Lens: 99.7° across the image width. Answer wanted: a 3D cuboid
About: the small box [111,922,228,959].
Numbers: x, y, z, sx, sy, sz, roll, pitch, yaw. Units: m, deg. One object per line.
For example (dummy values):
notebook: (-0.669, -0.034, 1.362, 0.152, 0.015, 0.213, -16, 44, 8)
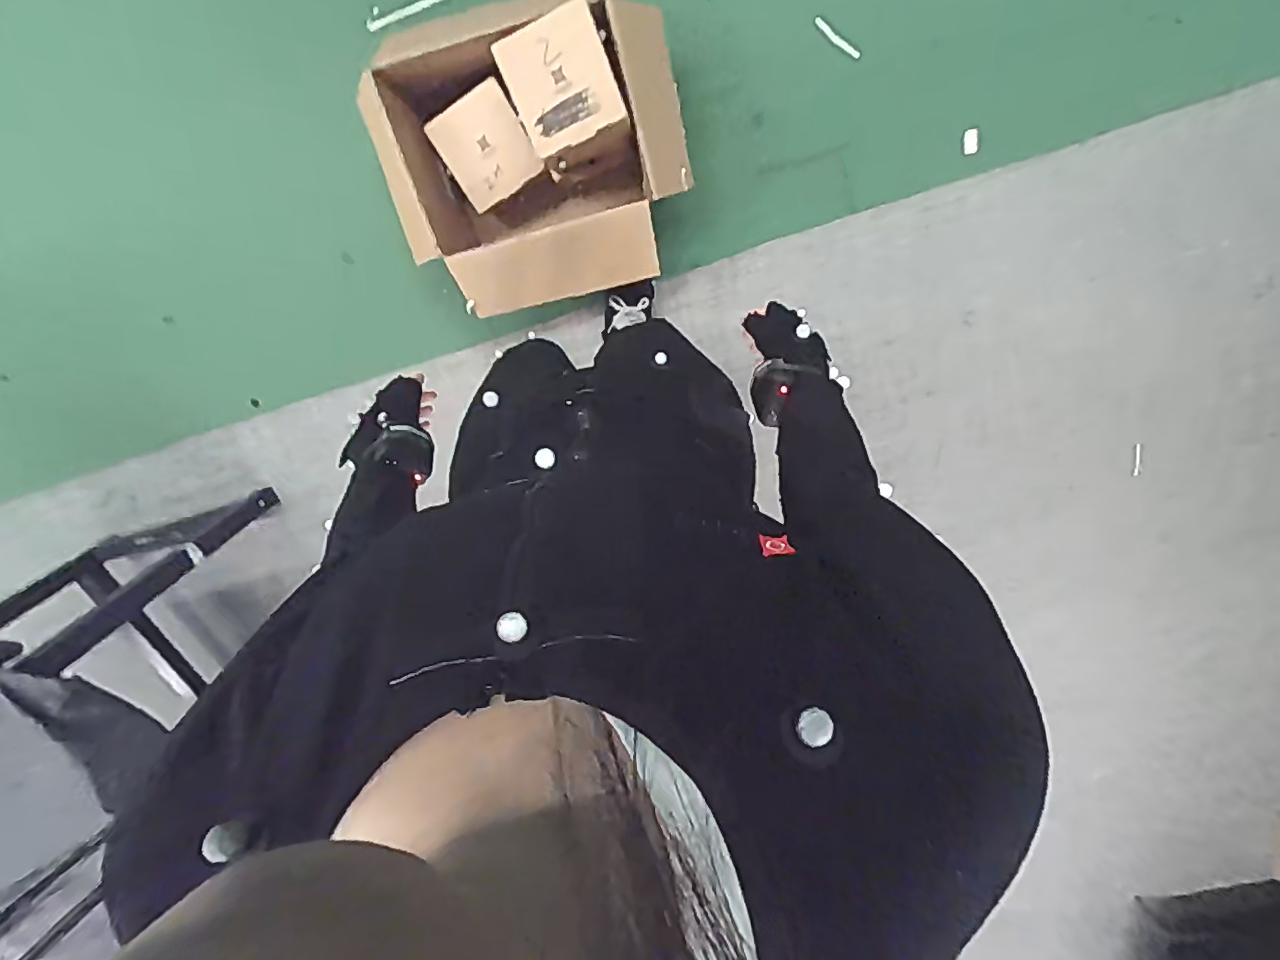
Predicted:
small box: (-1.071, 1.120, 1.185, 0.179, 0.176, 0.168, -18, 114, 7)
